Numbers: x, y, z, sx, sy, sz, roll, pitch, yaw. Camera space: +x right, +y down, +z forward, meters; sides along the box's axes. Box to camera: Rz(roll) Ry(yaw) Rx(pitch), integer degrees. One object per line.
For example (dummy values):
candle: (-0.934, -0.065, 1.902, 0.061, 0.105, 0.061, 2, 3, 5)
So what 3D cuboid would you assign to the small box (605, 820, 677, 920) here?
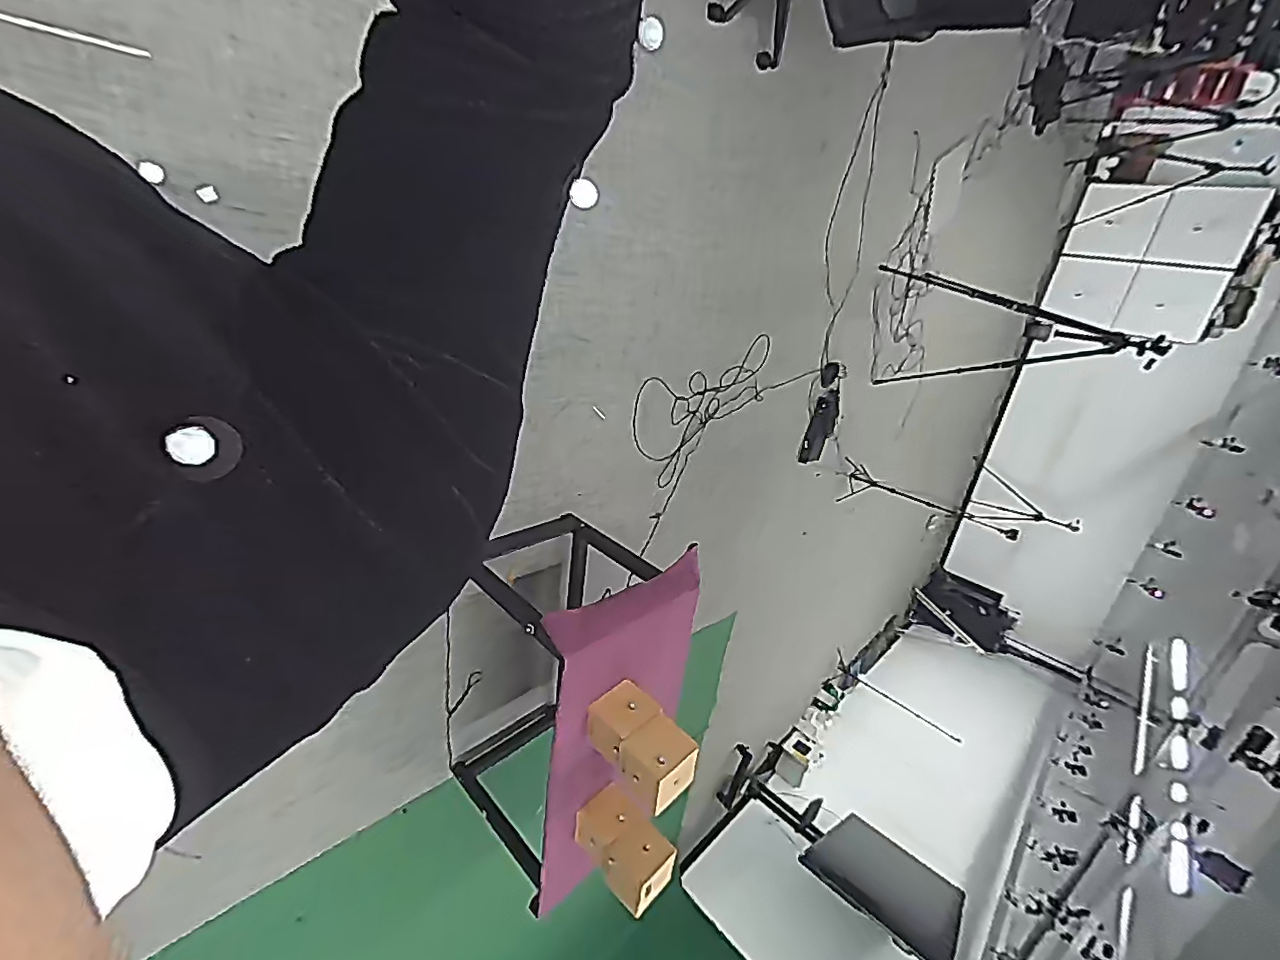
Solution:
small box: (-0.001, 1.318, 1.838, 0.179, 0.176, 0.168, -16, 122, -47)

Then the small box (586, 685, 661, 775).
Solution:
small box: (-0.056, 0.804, 1.755, 0.179, 0.176, 0.168, -23, 126, -42)

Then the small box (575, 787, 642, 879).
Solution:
small box: (-0.116, 1.261, 1.942, 0.179, 0.176, 0.168, -20, 124, -45)

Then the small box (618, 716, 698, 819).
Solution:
small box: (0.051, 0.866, 1.643, 0.179, 0.176, 0.168, -21, 126, -42)
